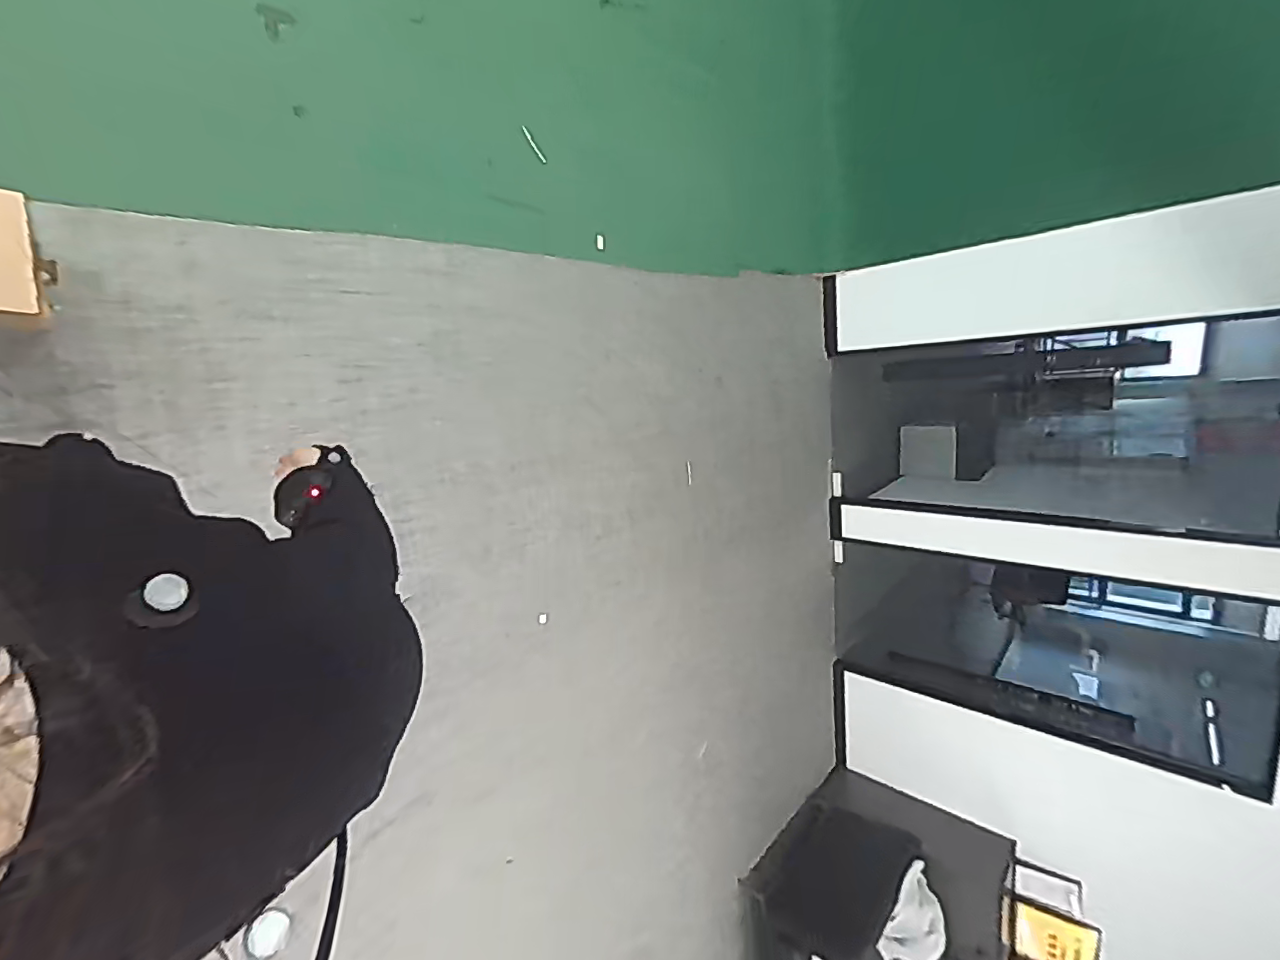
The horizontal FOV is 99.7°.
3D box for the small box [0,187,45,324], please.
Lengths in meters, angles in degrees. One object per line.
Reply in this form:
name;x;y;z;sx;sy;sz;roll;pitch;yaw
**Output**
small box;-0.995;-0.328;0.781;0.168;0.176;0.179;-7;100;-45
